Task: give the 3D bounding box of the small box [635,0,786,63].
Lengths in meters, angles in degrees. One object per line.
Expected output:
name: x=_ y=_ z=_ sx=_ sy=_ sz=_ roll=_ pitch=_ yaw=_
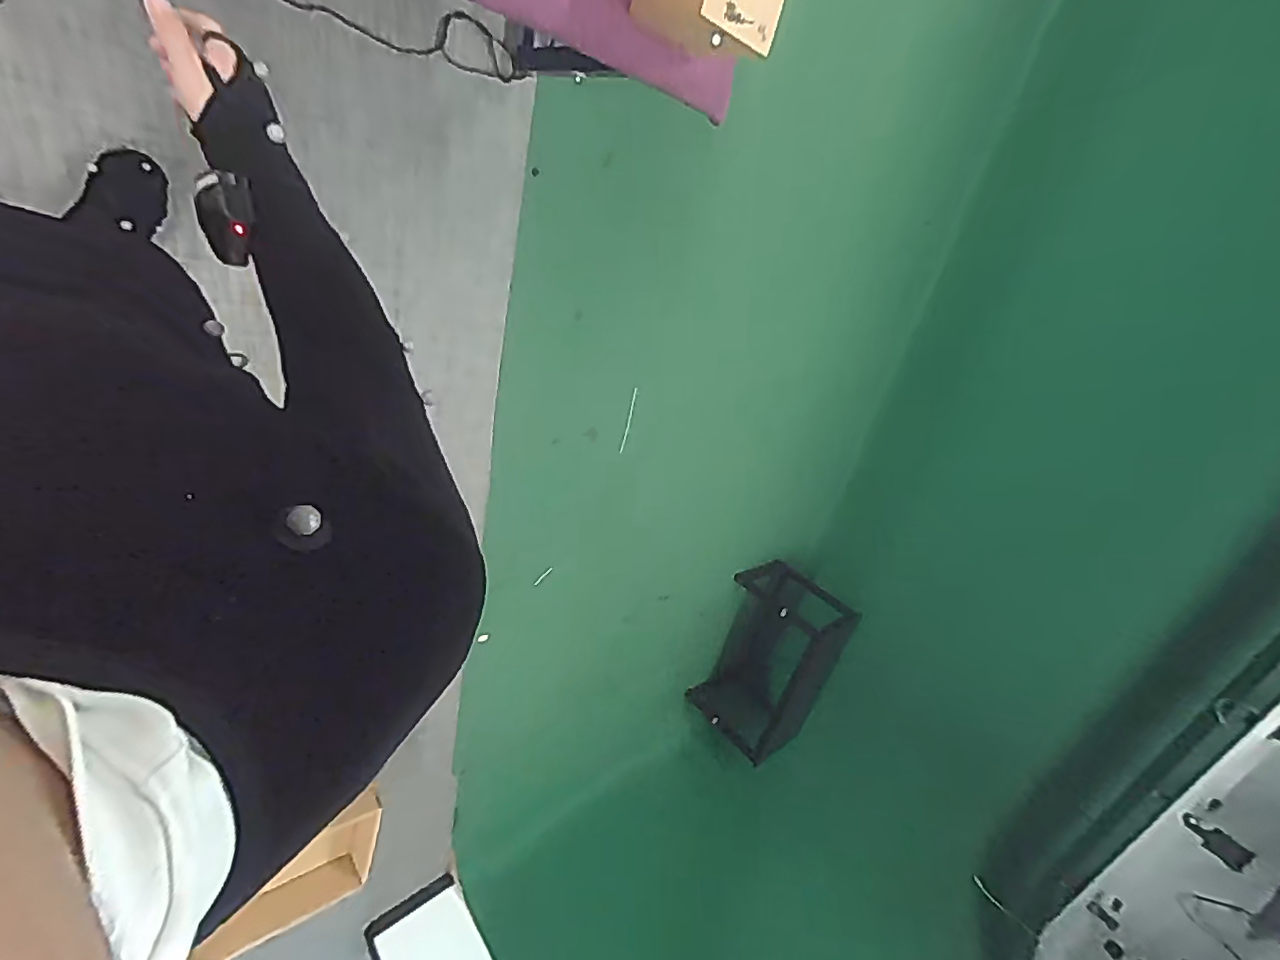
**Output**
small box: x=0.114 y=-0.773 z=0.827 sx=0.168 sy=0.176 sz=0.179 roll=-8 pitch=124 yaw=-40
